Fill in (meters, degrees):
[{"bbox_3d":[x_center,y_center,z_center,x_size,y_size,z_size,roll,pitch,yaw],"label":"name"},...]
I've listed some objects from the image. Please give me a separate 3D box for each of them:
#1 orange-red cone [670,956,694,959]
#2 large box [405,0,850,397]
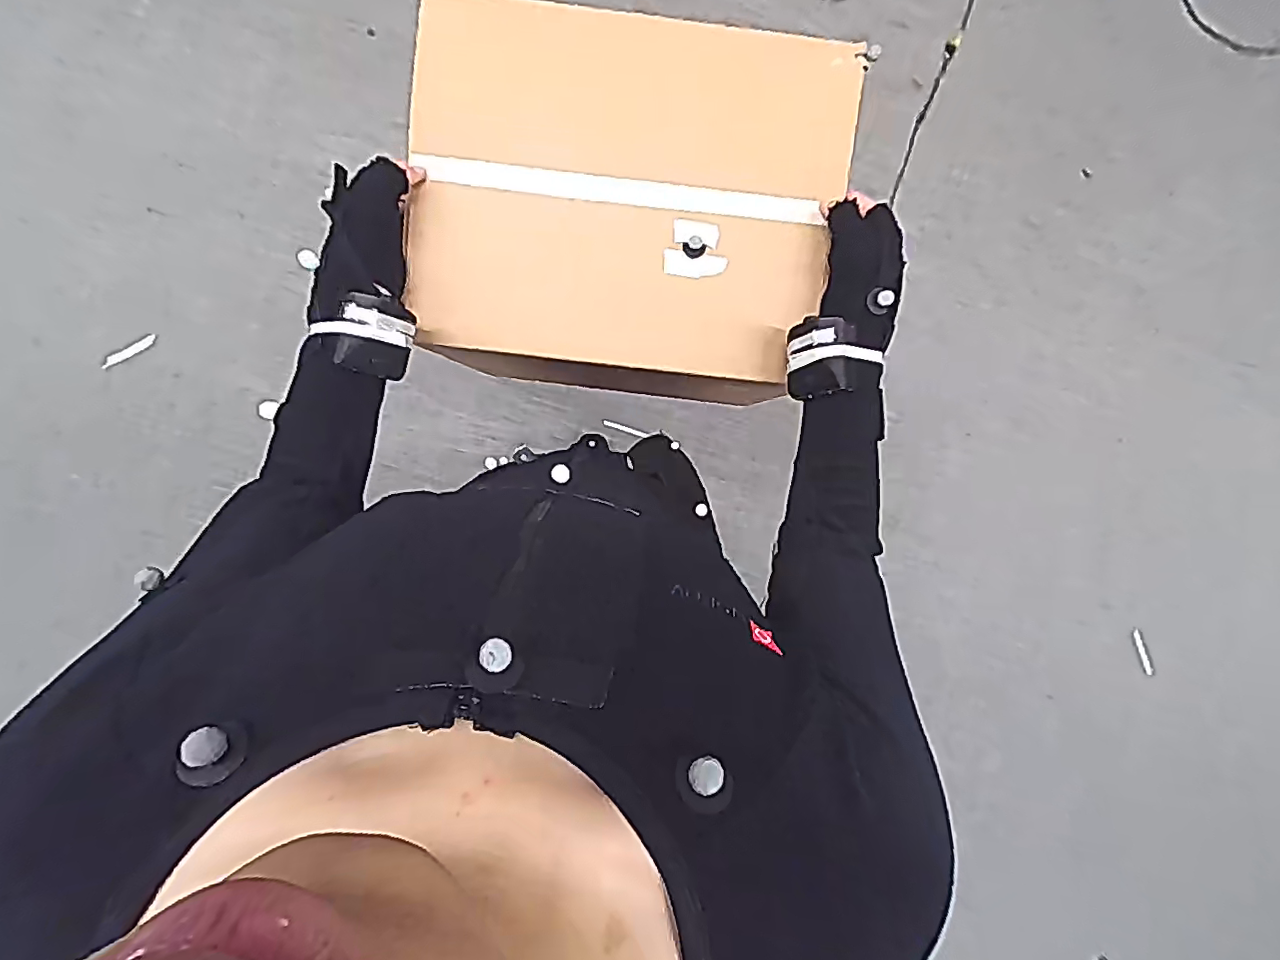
[{"bbox_3d":[0.161,1.523,1.428,0.198,0.360,0.199,15,93,-3],"label":"orange-red cone"},{"bbox_3d":[-0.019,-0.281,0.654,0.408,0.320,0.320,6,95,-2],"label":"large box"}]
